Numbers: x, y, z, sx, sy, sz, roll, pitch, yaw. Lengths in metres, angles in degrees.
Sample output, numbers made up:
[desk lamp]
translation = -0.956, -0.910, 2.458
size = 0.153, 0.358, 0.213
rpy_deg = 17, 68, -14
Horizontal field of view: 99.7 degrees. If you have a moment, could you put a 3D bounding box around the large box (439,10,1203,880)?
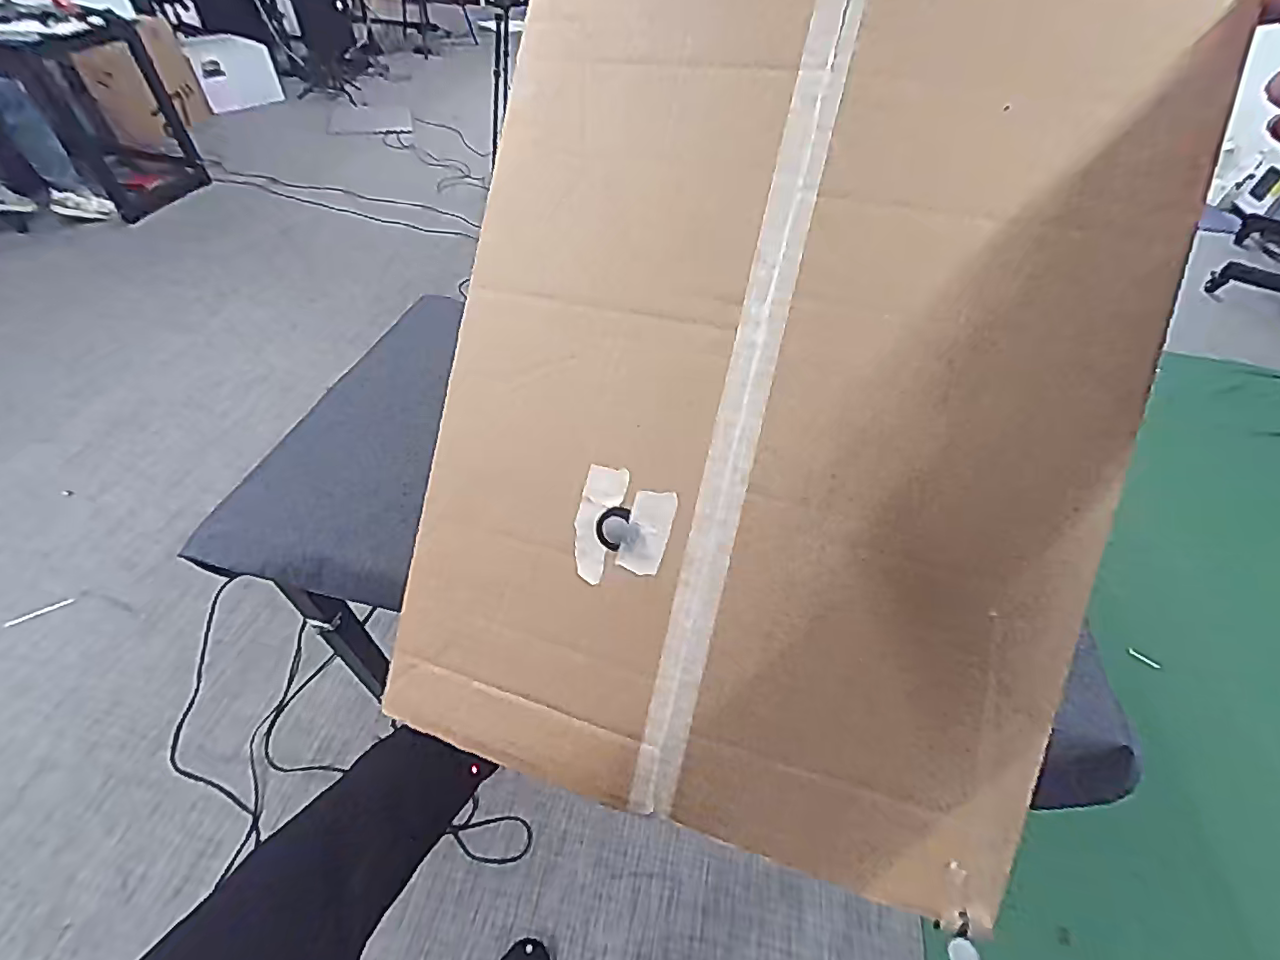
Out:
[large box]
translation = 0.092, -0.034, 0.422
size = 0.320, 0.408, 0.320
rpy_deg = 13, 5, 12
